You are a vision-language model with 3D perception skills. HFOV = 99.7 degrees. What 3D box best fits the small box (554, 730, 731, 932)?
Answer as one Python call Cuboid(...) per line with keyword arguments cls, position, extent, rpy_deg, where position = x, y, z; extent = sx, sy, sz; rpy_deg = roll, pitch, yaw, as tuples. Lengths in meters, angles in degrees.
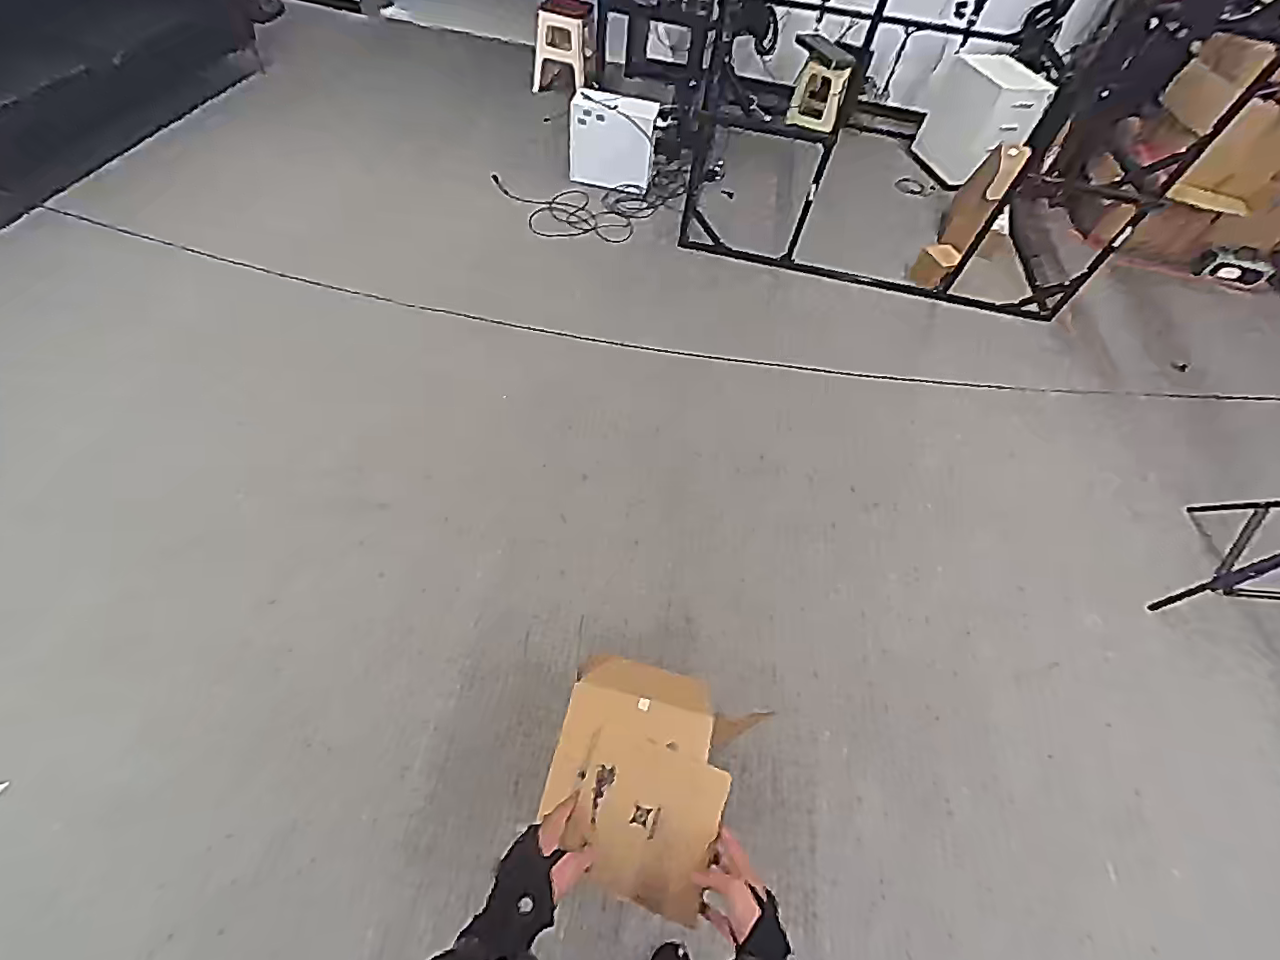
Cuboid(cls="small box", position=(-0.003, 0.450, 0.725), extent=(0.179, 0.176, 0.168), rpy_deg=(23, 63, 2))
